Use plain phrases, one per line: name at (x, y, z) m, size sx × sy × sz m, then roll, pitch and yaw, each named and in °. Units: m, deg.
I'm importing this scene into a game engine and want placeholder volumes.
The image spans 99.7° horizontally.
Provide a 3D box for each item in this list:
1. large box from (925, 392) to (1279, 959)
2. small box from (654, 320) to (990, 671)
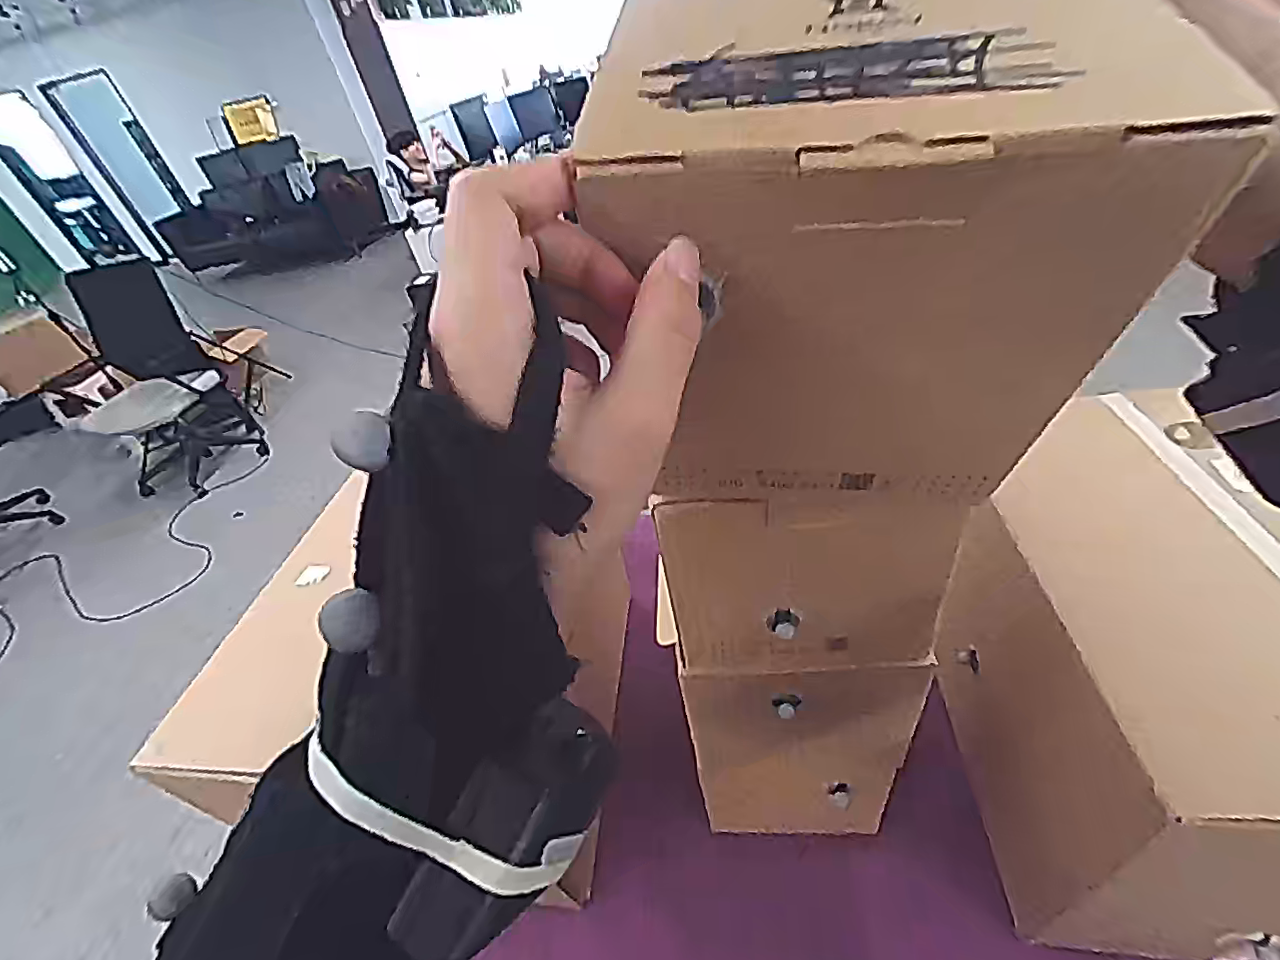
large box at (0.483, 0.166, 0.502) m, size 0.320 × 0.320 × 0.408 m, roll -4°, pitch 39°, yaw 11°
small box at (0.102, 0.010, 0.382) m, size 0.168 × 0.176 × 0.179 m, roll -6°, pitch 40°, yaw 7°
